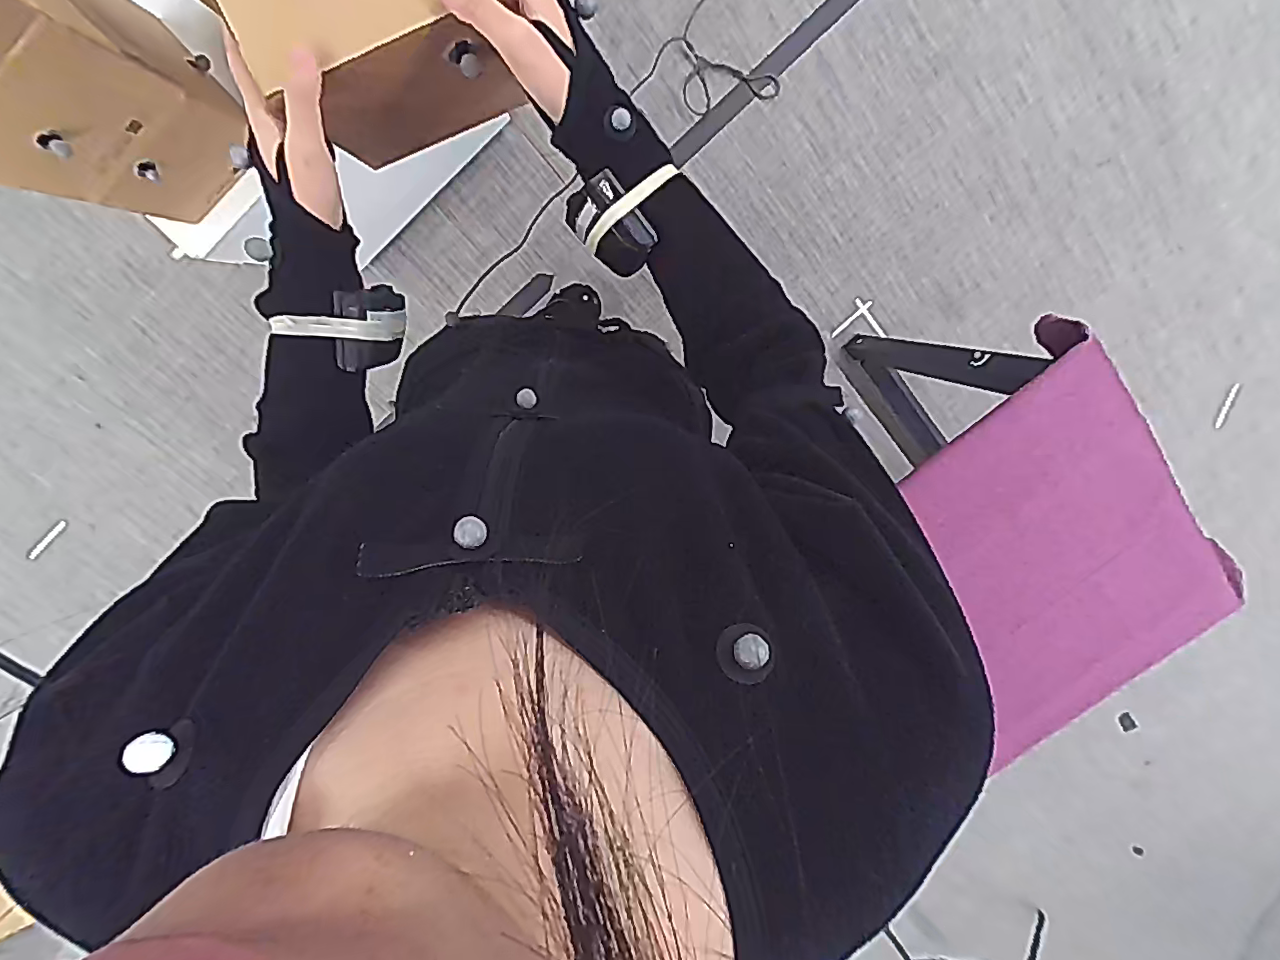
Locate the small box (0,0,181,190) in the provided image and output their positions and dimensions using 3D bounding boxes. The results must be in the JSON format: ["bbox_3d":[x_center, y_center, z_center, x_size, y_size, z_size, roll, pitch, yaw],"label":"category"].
[{"bbox_3d":[-0.573,-0.385,0.472,0.168,0.176,0.179,-41,107,8],"label":"small box"}]

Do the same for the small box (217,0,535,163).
[{"bbox_3d":[-0.187,-0.364,0.389,0.179,0.176,0.168,-21,106,4],"label":"small box"}]

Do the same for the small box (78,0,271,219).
[{"bbox_3d":[-0.591,-0.436,0.626,0.168,0.176,0.179,-40,106,7],"label":"small box"}]
